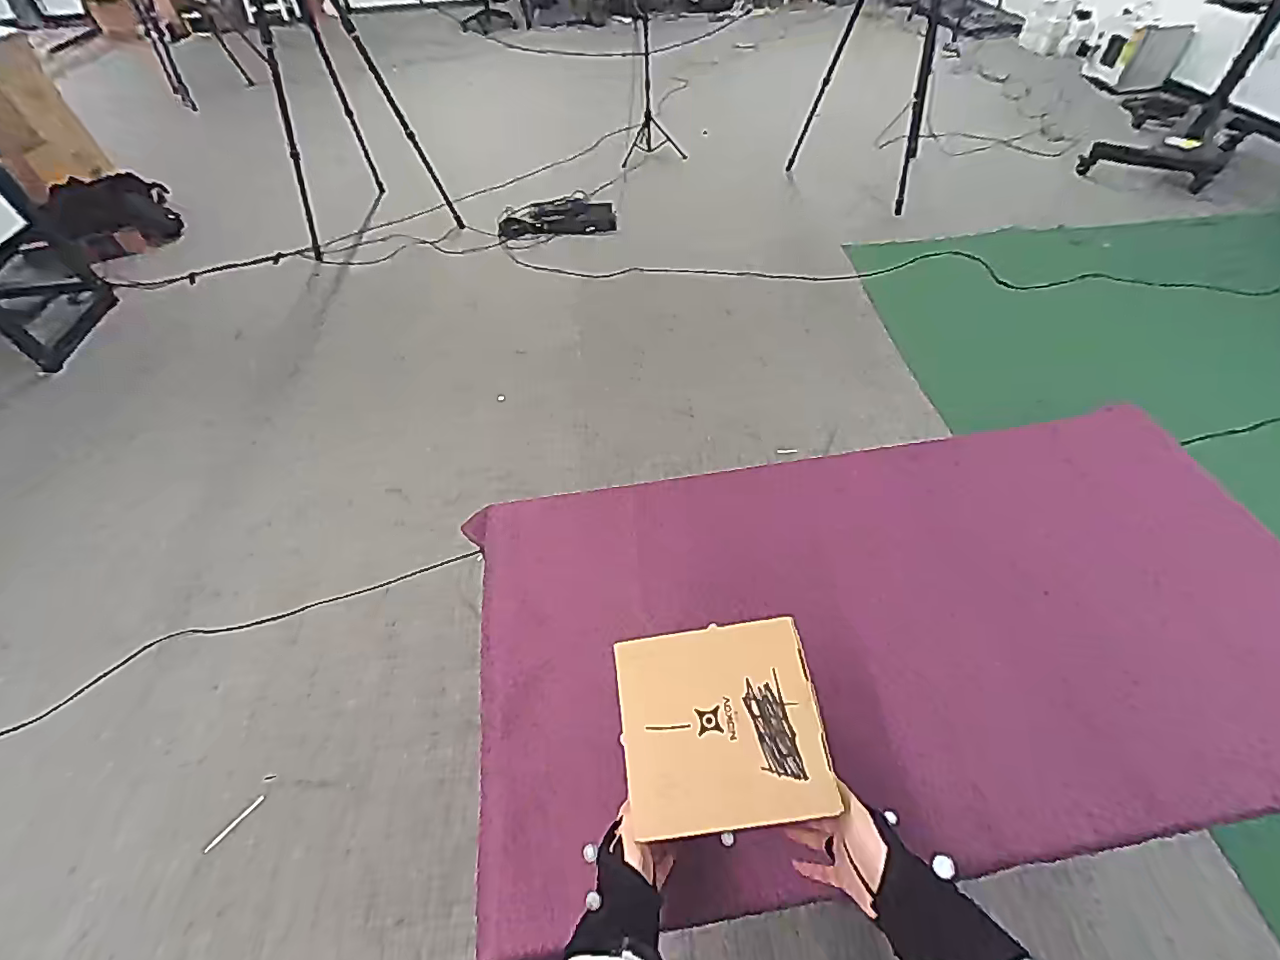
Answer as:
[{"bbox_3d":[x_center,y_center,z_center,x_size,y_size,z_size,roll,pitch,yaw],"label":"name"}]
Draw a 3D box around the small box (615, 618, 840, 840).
[{"bbox_3d":[0.078,0.252,0.550,0.179,0.176,0.168,-10,60,3],"label":"small box"}]
